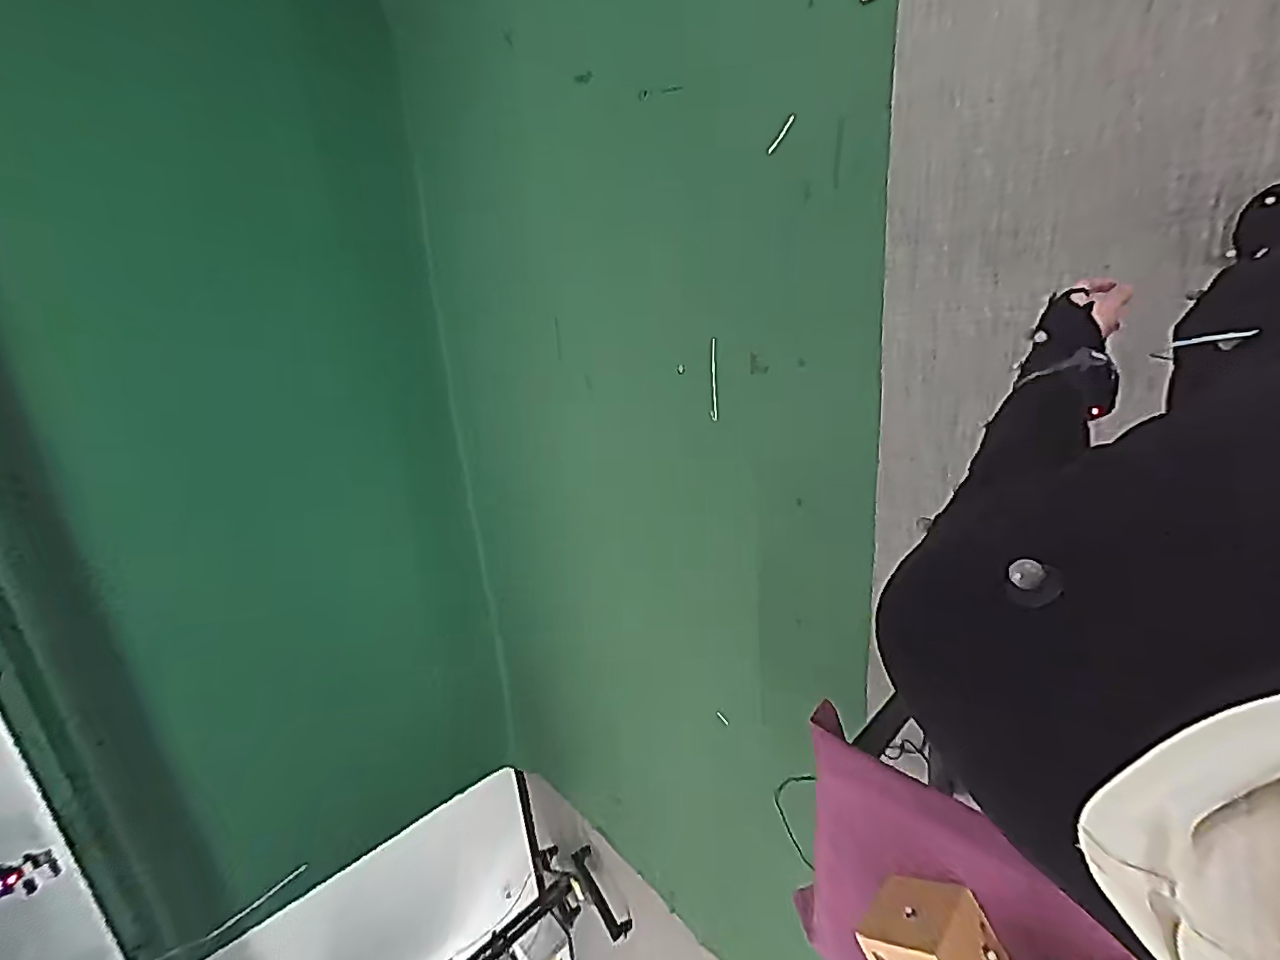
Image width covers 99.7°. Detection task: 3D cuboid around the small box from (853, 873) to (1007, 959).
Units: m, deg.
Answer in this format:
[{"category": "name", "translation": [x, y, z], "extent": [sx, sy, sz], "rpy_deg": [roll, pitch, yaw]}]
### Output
[{"category": "small box", "translation": [0.555, 0.895, 1.034], "extent": [0.179, 0.176, 0.168], "rpy_deg": [-38, 76, 47]}]
